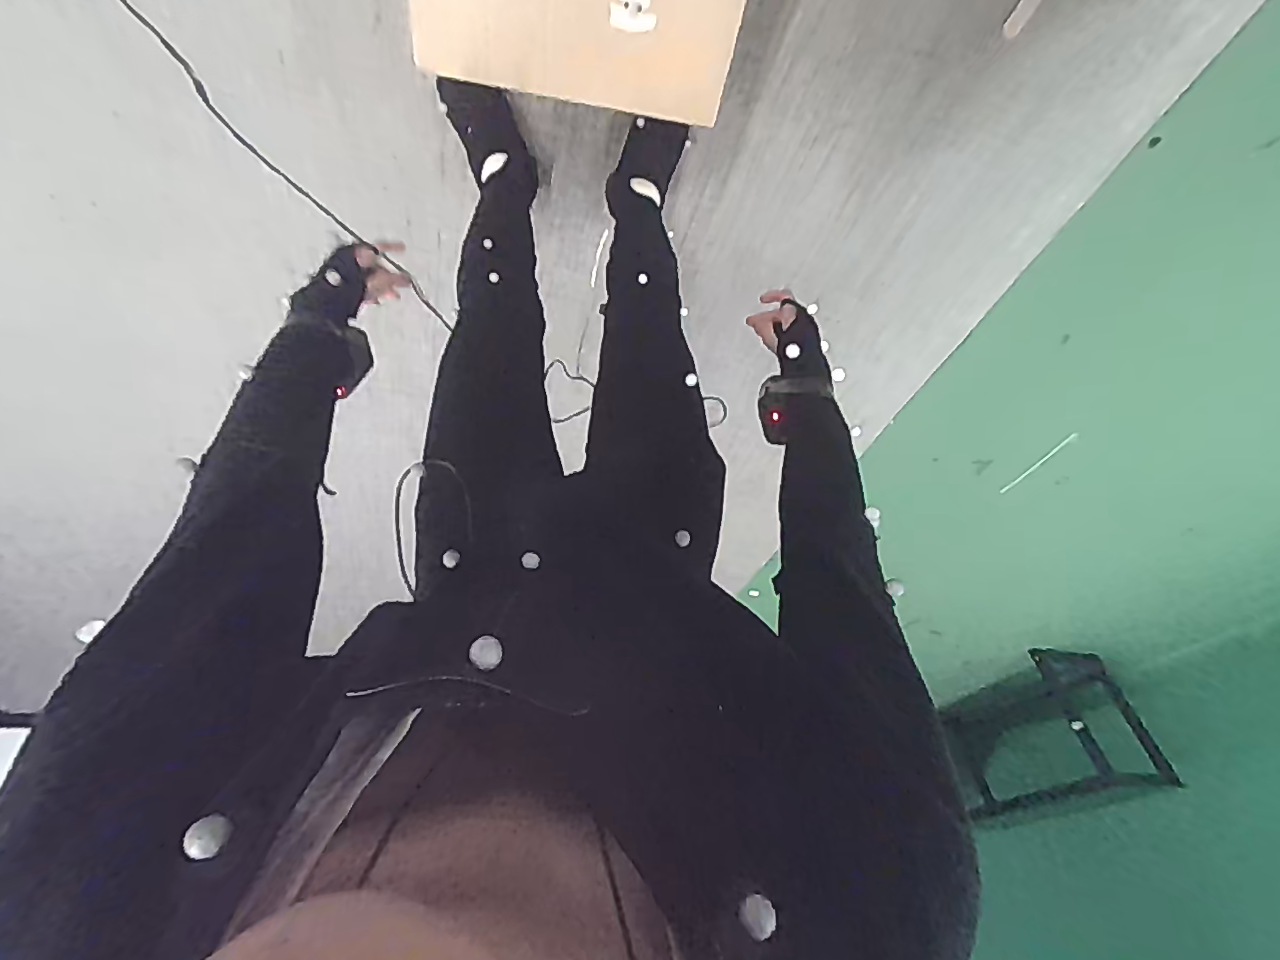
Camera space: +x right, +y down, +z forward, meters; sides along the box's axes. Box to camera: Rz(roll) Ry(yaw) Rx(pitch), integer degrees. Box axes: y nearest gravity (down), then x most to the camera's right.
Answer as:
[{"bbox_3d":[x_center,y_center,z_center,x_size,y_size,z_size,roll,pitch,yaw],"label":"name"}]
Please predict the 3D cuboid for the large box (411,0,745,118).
[{"bbox_3d":[-0.077,-0.723,0.707,0.408,0.320,0.320,3,138,-11],"label":"large box"}]
